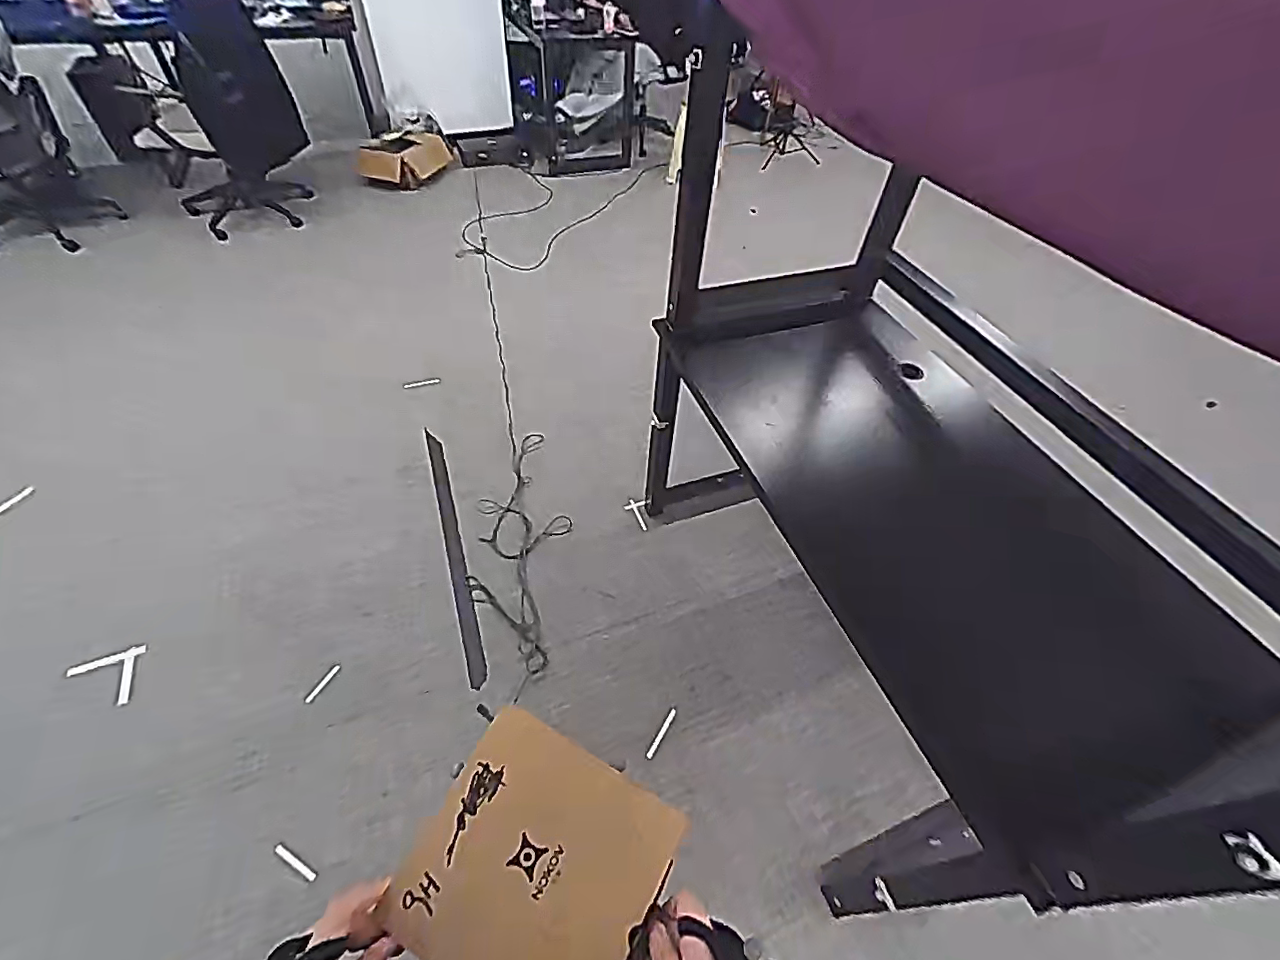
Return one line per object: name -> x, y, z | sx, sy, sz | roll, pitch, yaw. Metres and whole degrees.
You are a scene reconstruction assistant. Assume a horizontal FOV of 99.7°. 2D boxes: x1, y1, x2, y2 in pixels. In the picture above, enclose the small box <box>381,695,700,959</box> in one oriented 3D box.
small box -> -0.069, 0.311, 0.461 | 0.179, 0.176, 0.168 | 27, 63, 13
